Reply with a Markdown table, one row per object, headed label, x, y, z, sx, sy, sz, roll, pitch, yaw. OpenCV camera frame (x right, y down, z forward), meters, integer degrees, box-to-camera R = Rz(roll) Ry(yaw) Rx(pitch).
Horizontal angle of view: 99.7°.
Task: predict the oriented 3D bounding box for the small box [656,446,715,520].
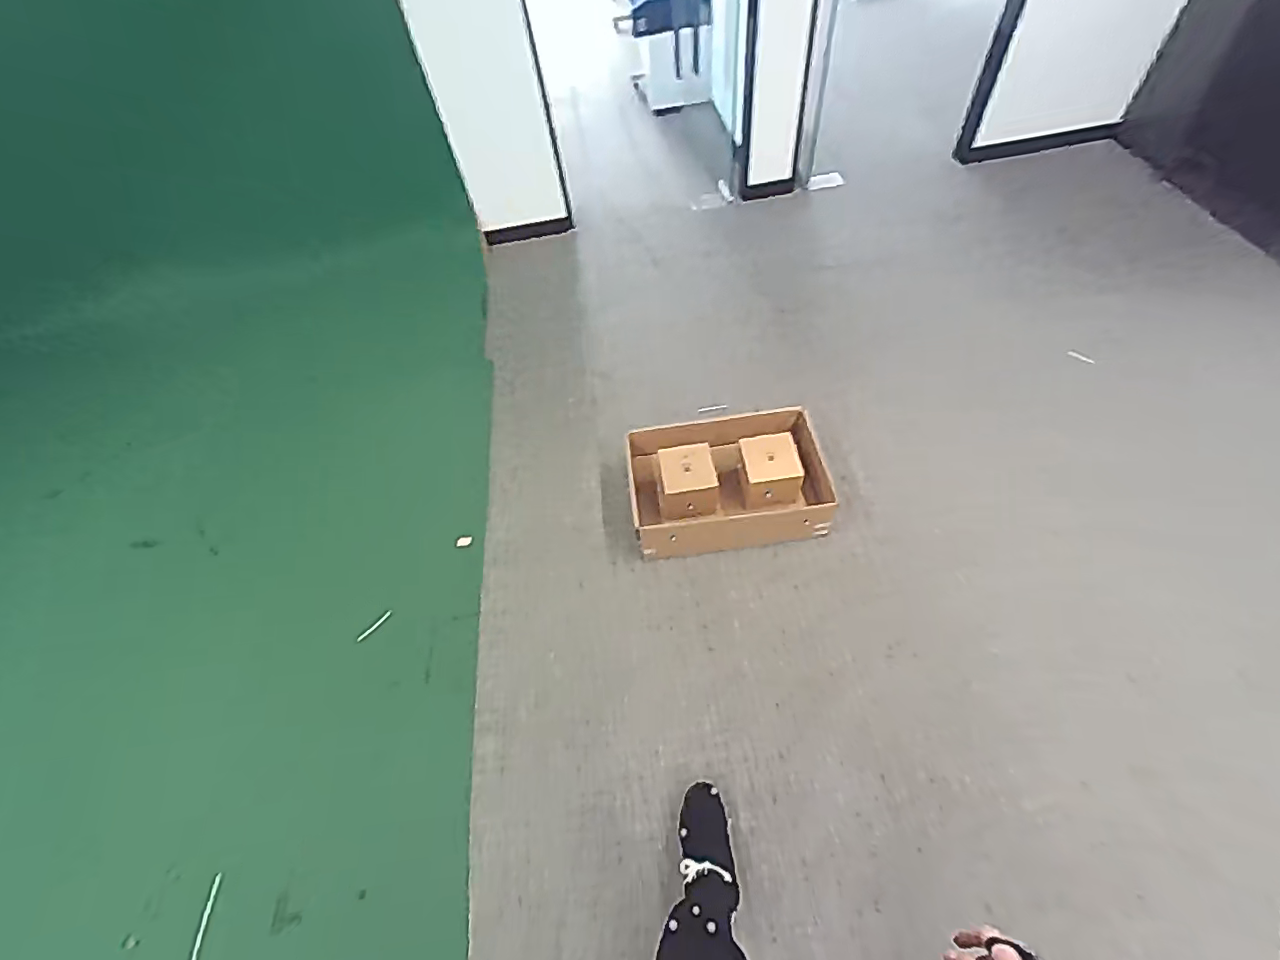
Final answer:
| label | x | y | z | sx | sy | sz | roll | pitch | yaw |
| --- | --- | --- | --- | --- | --- | --- | --- | --- | --- |
| small box | 0.146 | 0.017 | 1.747 | 0.168 | 0.176 | 0.179 | -8 | 54 | -1 |

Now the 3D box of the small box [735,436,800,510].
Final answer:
| label | x | y | z | sx | sy | sz | roll | pitch | yaw |
| --- | --- | --- | --- | --- | --- | --- | --- | --- | --- |
| small box | 0.407 | -0.015 | 1.743 | 0.168 | 0.176 | 0.179 | -8 | 54 | 1 |
